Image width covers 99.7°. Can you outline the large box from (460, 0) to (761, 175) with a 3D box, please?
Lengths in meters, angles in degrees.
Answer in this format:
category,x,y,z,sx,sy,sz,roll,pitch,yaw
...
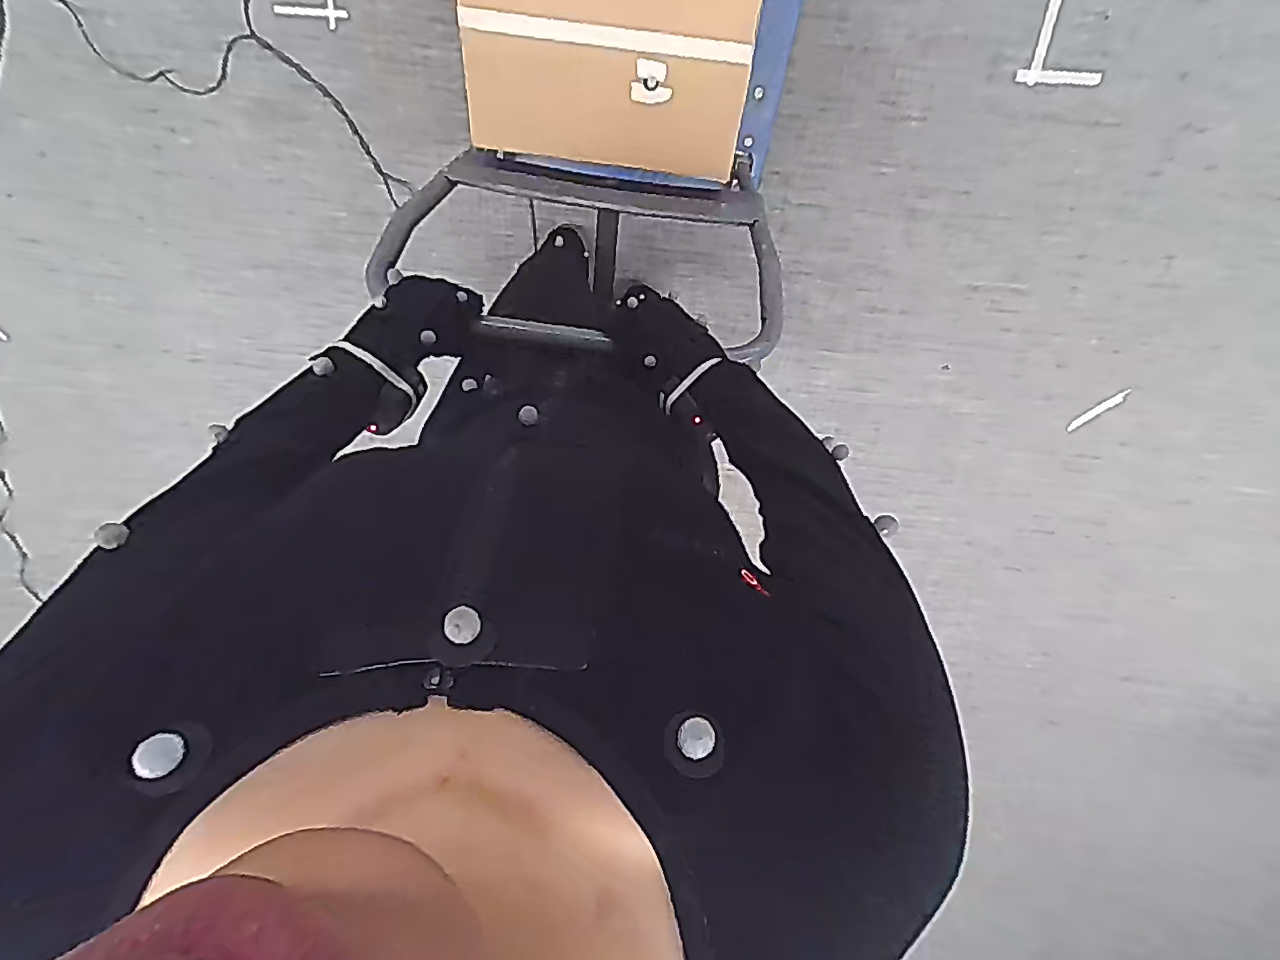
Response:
category,x,y,z,sx,sy,sz,roll,pitch,yaw
large box,-0.039,-0.701,0.844,0.408,0.320,0.320,6,132,-2
